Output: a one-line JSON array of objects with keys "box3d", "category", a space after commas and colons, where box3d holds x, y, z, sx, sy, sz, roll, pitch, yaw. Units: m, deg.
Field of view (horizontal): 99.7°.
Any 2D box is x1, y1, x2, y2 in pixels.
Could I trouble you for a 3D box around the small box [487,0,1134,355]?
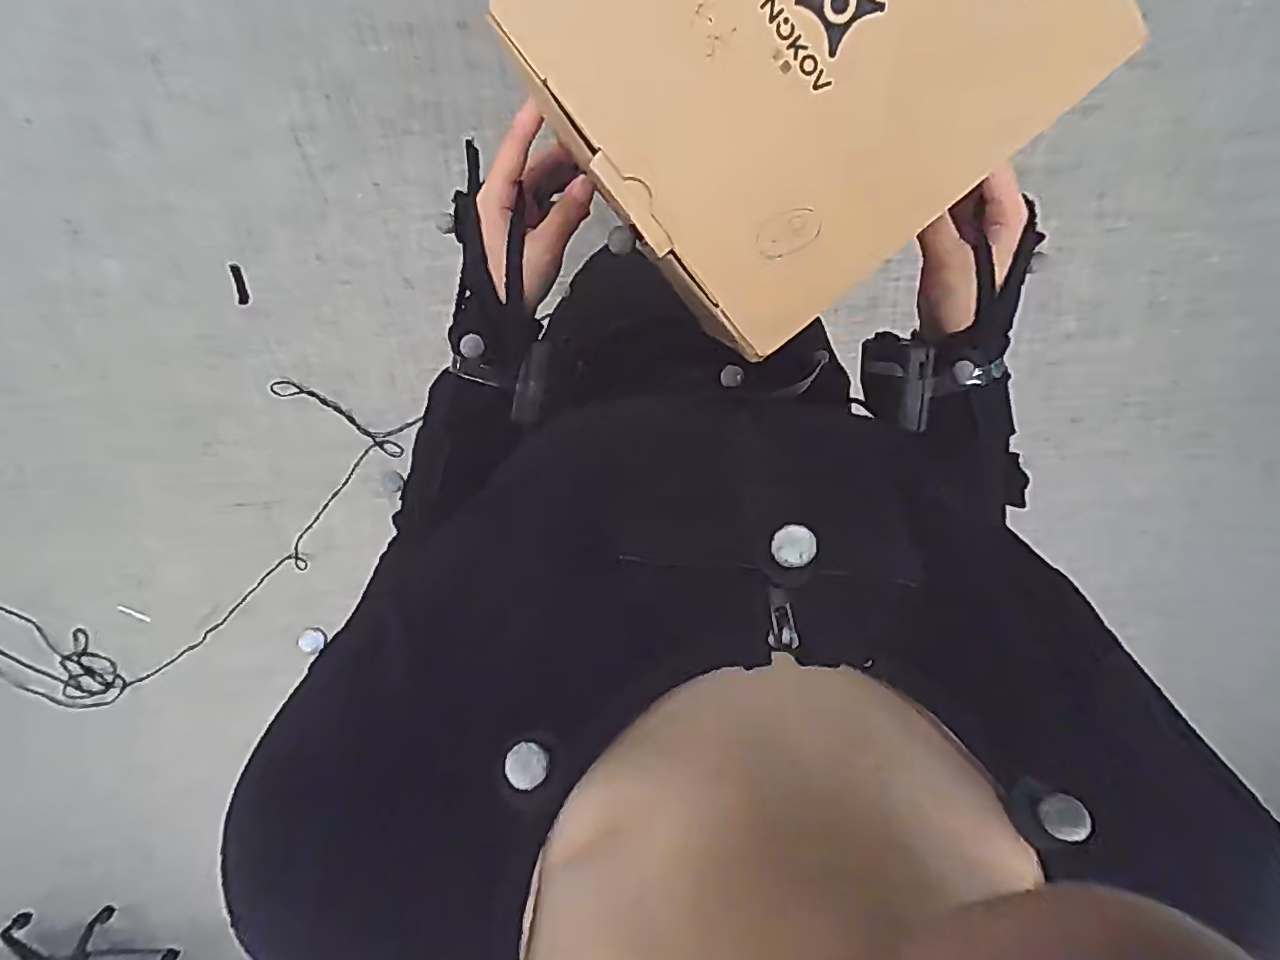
[{"box3d": [0.062, -0.186, 0.270, 0.179, 0.176, 0.168, -39, 103, 13], "category": "small box"}]
